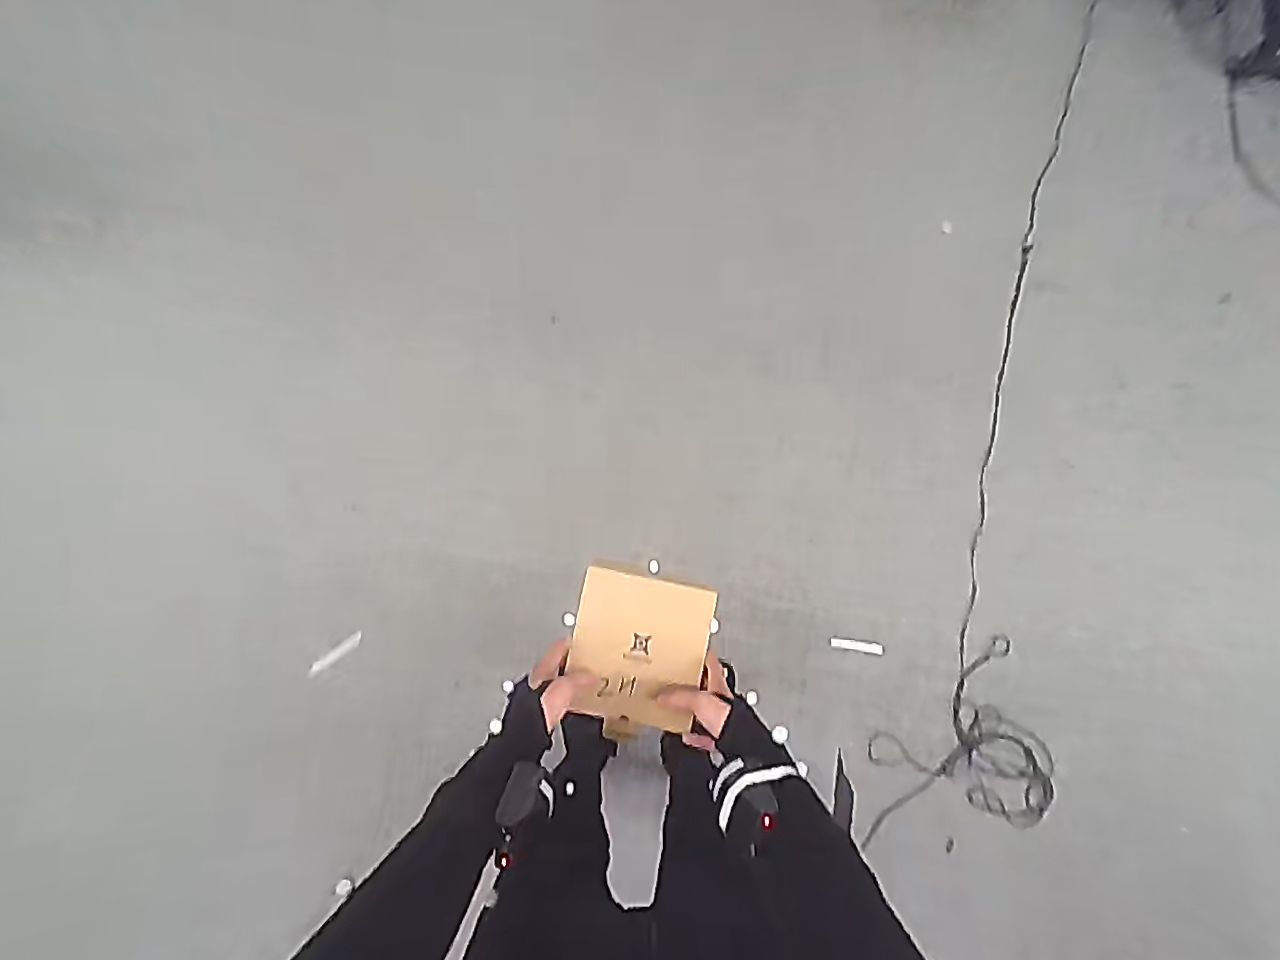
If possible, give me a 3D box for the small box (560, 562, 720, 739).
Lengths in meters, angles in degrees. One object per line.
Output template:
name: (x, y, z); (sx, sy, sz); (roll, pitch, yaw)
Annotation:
small box: (-0.004, 0.215, 0.731); (0.168, 0.176, 0.179); (13, 85, -2)
